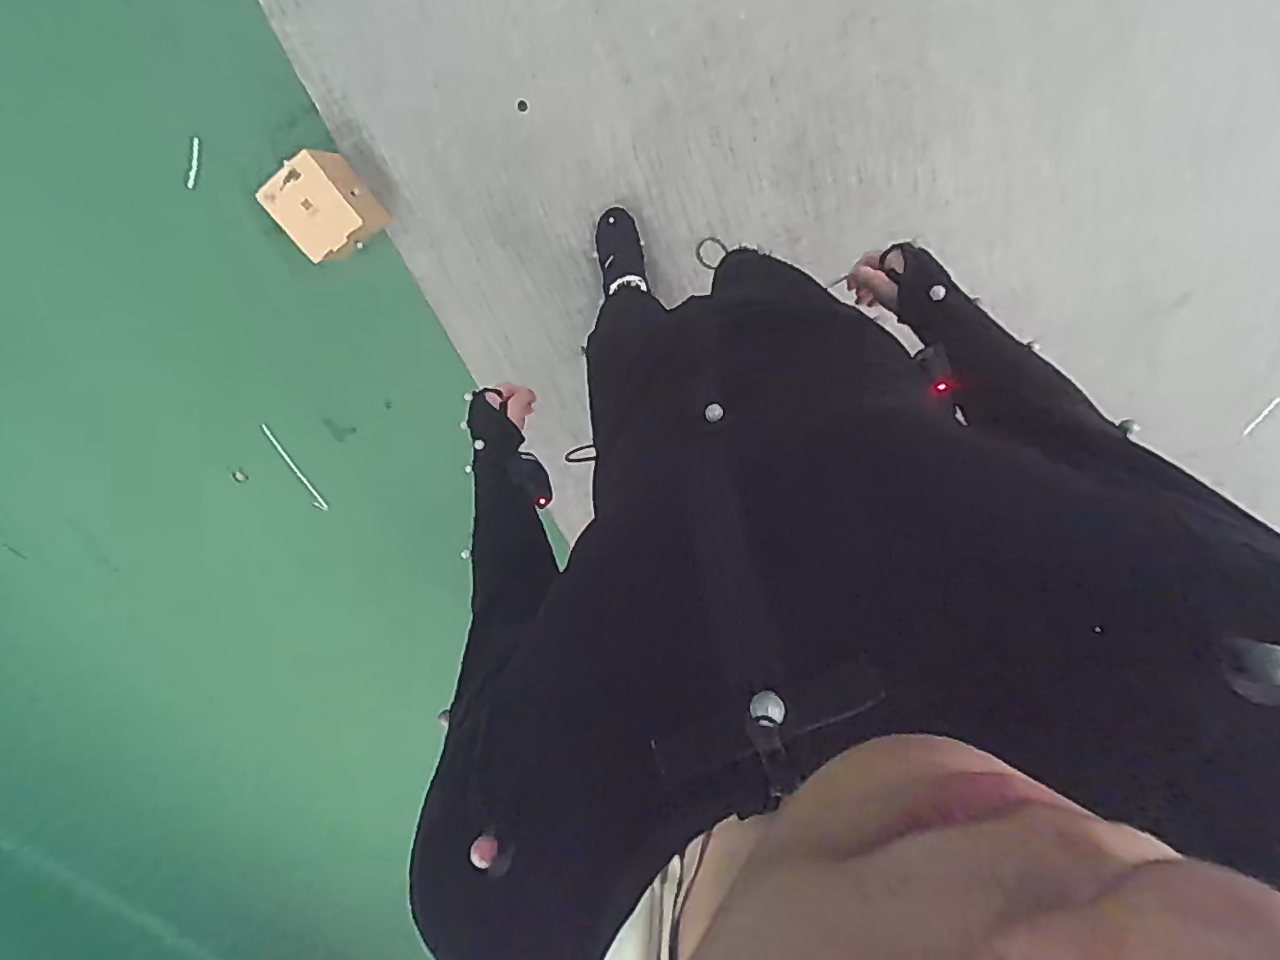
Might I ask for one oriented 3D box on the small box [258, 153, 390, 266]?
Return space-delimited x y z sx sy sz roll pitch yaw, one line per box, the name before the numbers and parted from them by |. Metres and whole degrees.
small box | -0.734 -0.640 1.282 0.168 0.176 0.179 -31 114 13
